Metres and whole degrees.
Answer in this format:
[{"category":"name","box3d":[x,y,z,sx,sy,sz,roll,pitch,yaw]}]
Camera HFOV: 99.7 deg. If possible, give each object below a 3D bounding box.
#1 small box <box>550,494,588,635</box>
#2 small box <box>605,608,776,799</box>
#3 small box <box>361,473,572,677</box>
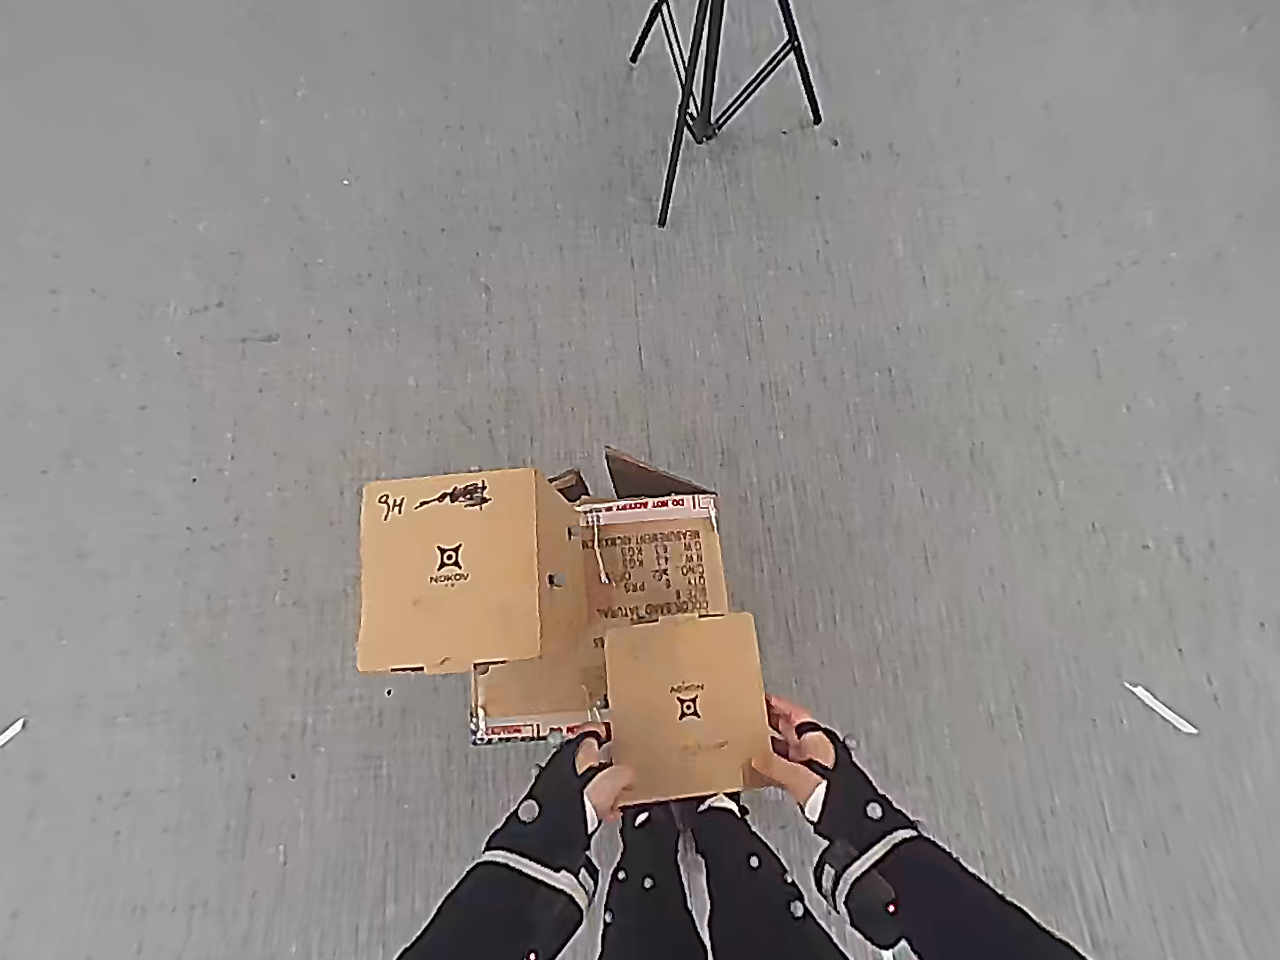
[{"category":"small box","box3d":[-0.168,0.126,0.735,0.168,0.176,0.179,-7,78,2]},{"category":"small box","box3d":[0.046,0.252,0.647,0.168,0.176,0.179,-5,77,-4]},{"category":"small box","box3d":[-0.169,0.099,0.572,0.168,0.176,0.179,-5,78,1]}]
